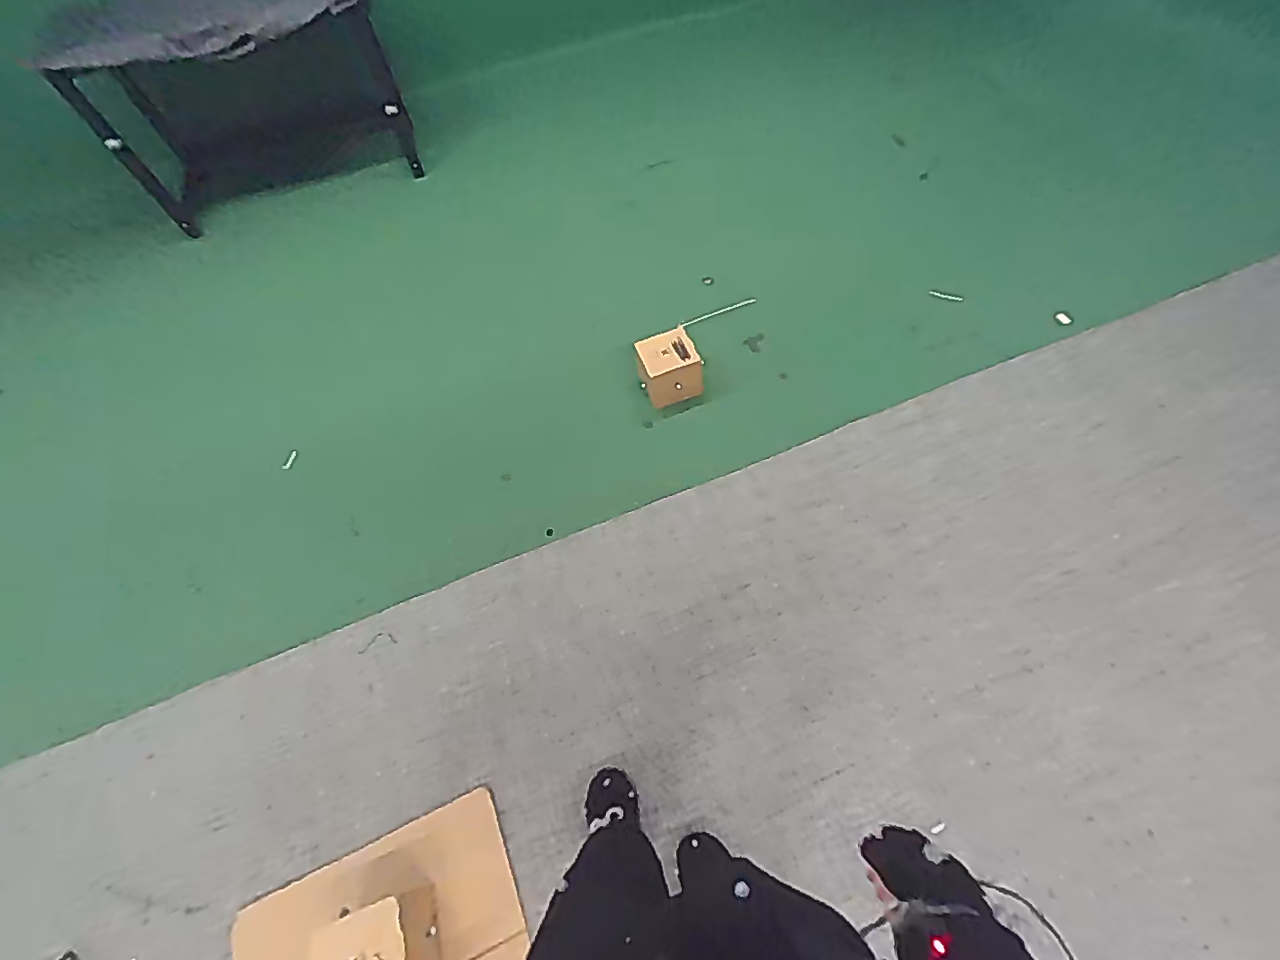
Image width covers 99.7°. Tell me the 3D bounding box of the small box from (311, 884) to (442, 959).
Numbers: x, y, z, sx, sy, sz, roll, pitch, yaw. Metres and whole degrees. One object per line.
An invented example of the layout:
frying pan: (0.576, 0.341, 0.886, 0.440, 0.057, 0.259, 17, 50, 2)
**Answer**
small box: (-0.518, 0.940, 1.075, 0.179, 0.176, 0.168, -20, 60, -6)
